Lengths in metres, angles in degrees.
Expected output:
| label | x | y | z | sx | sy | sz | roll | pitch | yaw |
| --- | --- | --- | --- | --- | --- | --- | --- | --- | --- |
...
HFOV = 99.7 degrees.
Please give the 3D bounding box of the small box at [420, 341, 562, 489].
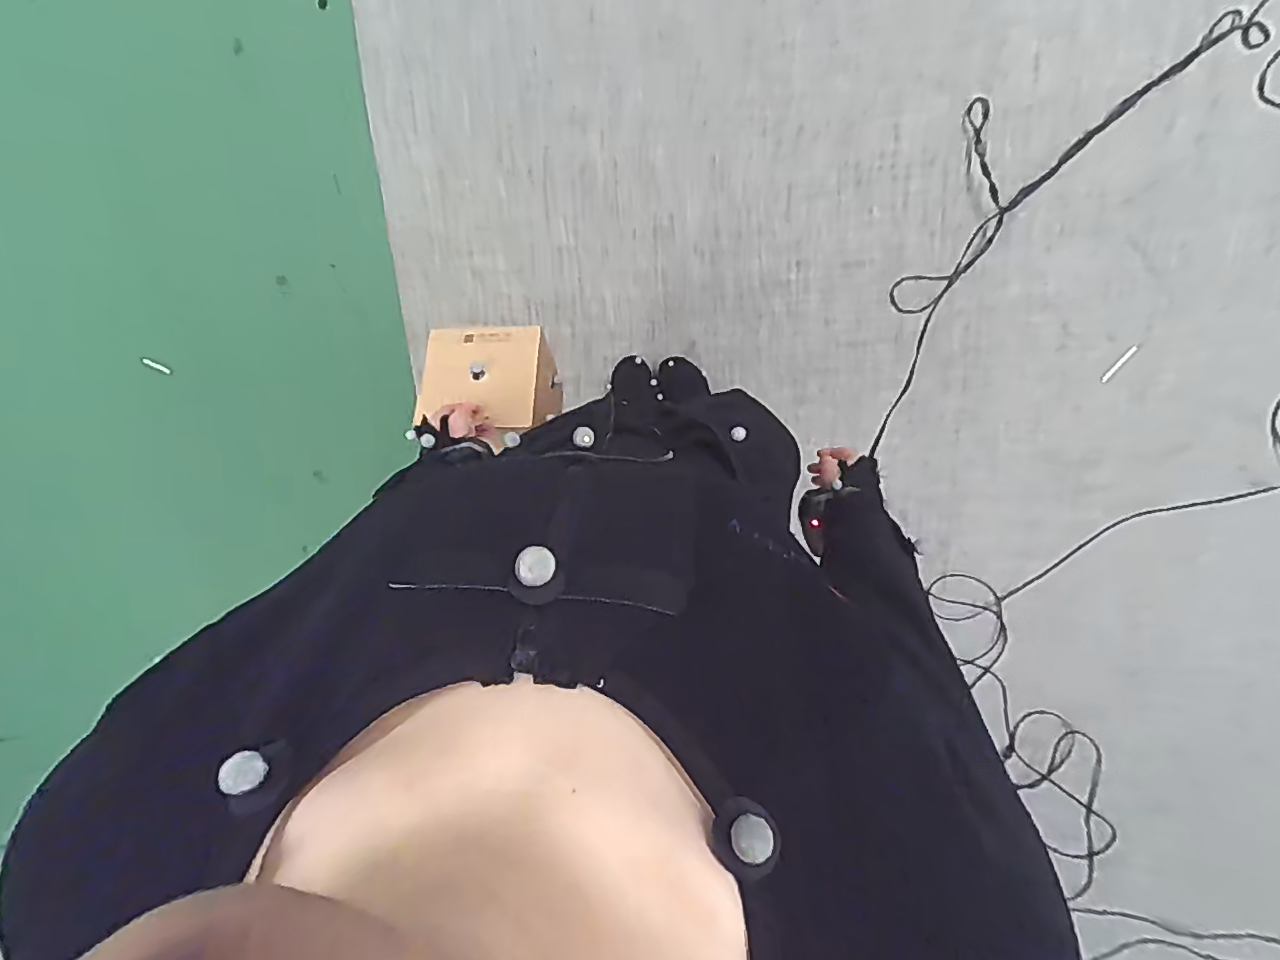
| label | x | y | z | sx | sy | sz | roll | pitch | yaw |
| --- | --- | --- | --- | --- | --- | --- | --- | --- | --- |
| small box | -0.217 | -0.100 | 0.834 | 0.168 | 0.179 | 0.176 | -3 | 66 | 3 |
